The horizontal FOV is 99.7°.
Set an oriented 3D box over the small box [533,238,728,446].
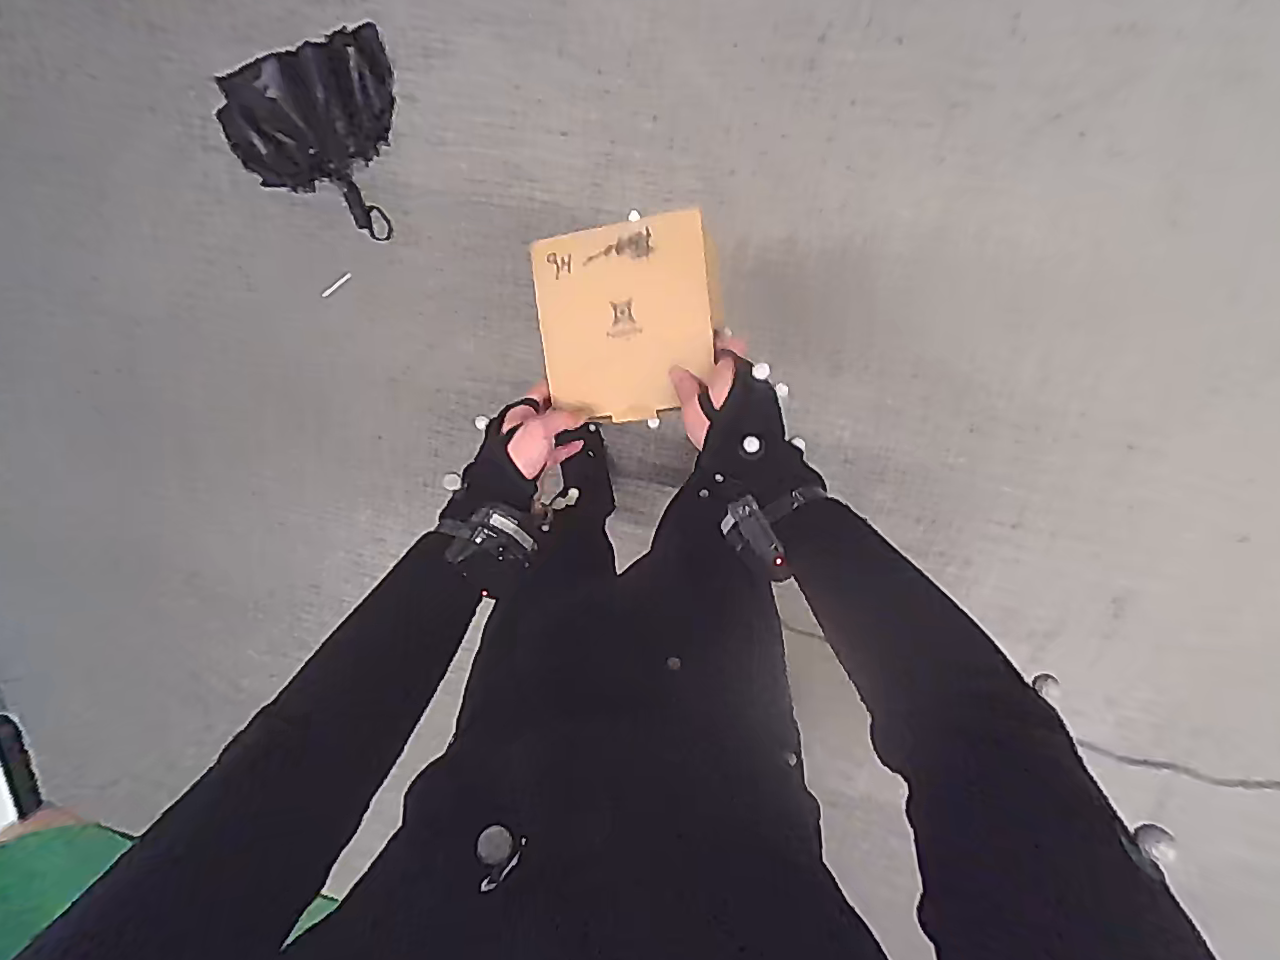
[{"bbox_3d":[0.003,-0.139,0.591,0.168,0.176,0.179,-6,97,14],"label":"small box"}]
